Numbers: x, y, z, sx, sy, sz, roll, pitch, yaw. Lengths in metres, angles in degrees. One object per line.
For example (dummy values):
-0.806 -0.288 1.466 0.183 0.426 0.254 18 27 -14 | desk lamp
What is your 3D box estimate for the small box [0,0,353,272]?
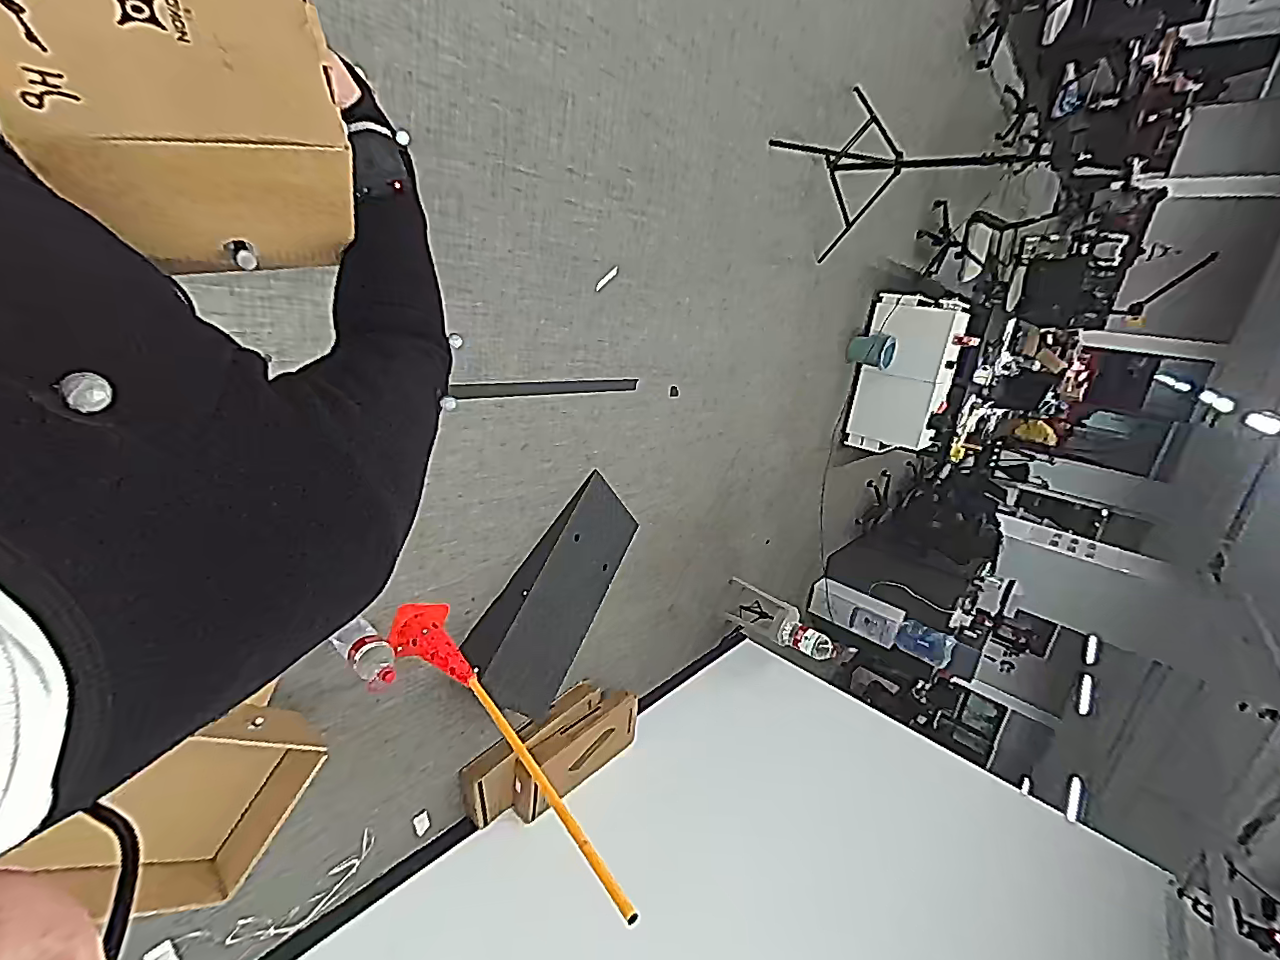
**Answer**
-0.339 -0.279 0.419 0.179 0.176 0.168 -16 88 -29 | small box
